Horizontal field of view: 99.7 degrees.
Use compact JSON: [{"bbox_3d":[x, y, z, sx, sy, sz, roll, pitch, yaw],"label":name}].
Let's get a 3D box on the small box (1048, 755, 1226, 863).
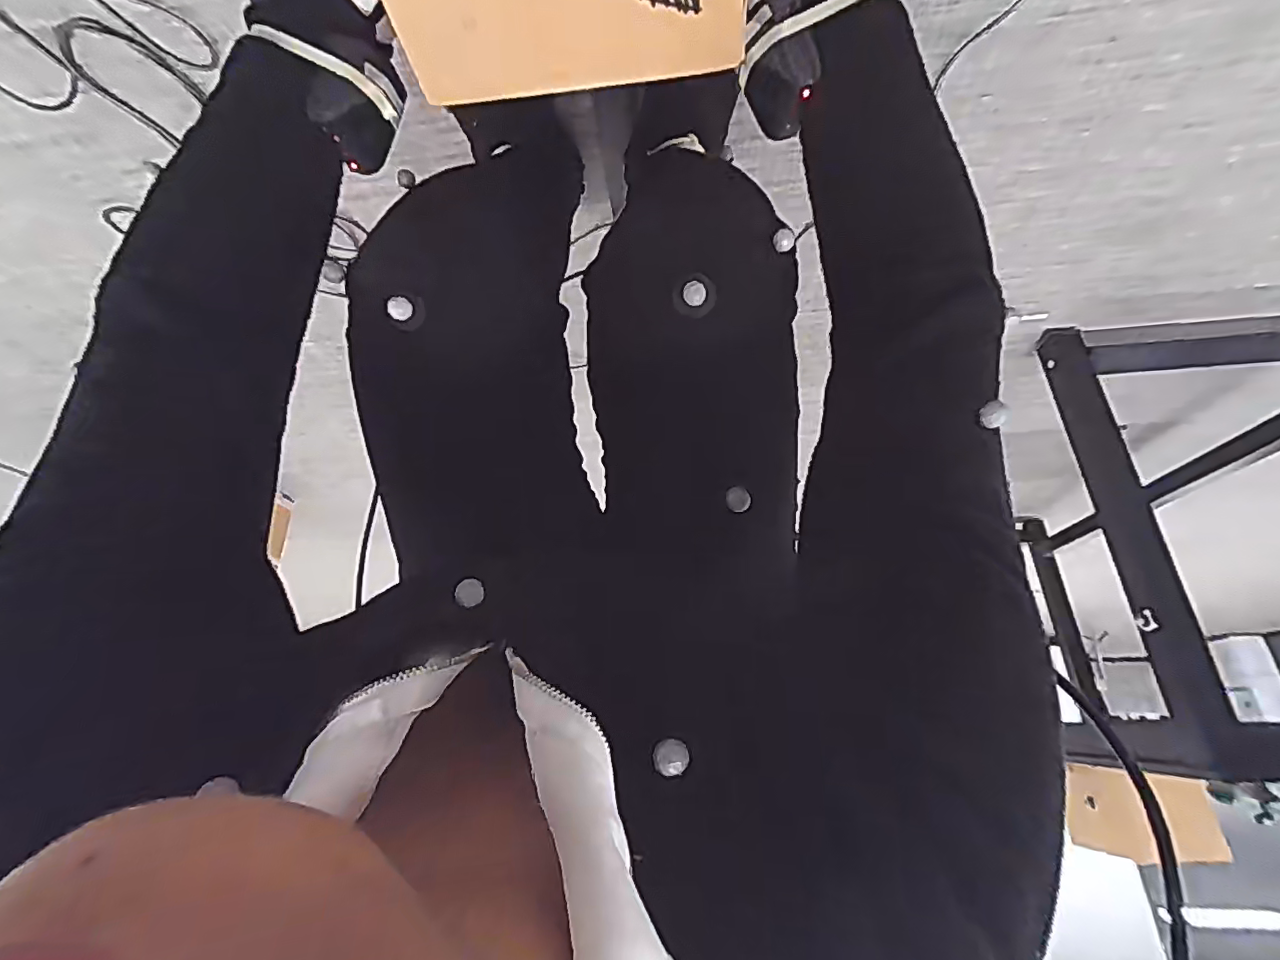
[{"bbox_3d":[0.974,0.646,1.081,0.179,0.176,0.168,1,156,-4],"label":"small box"}]
